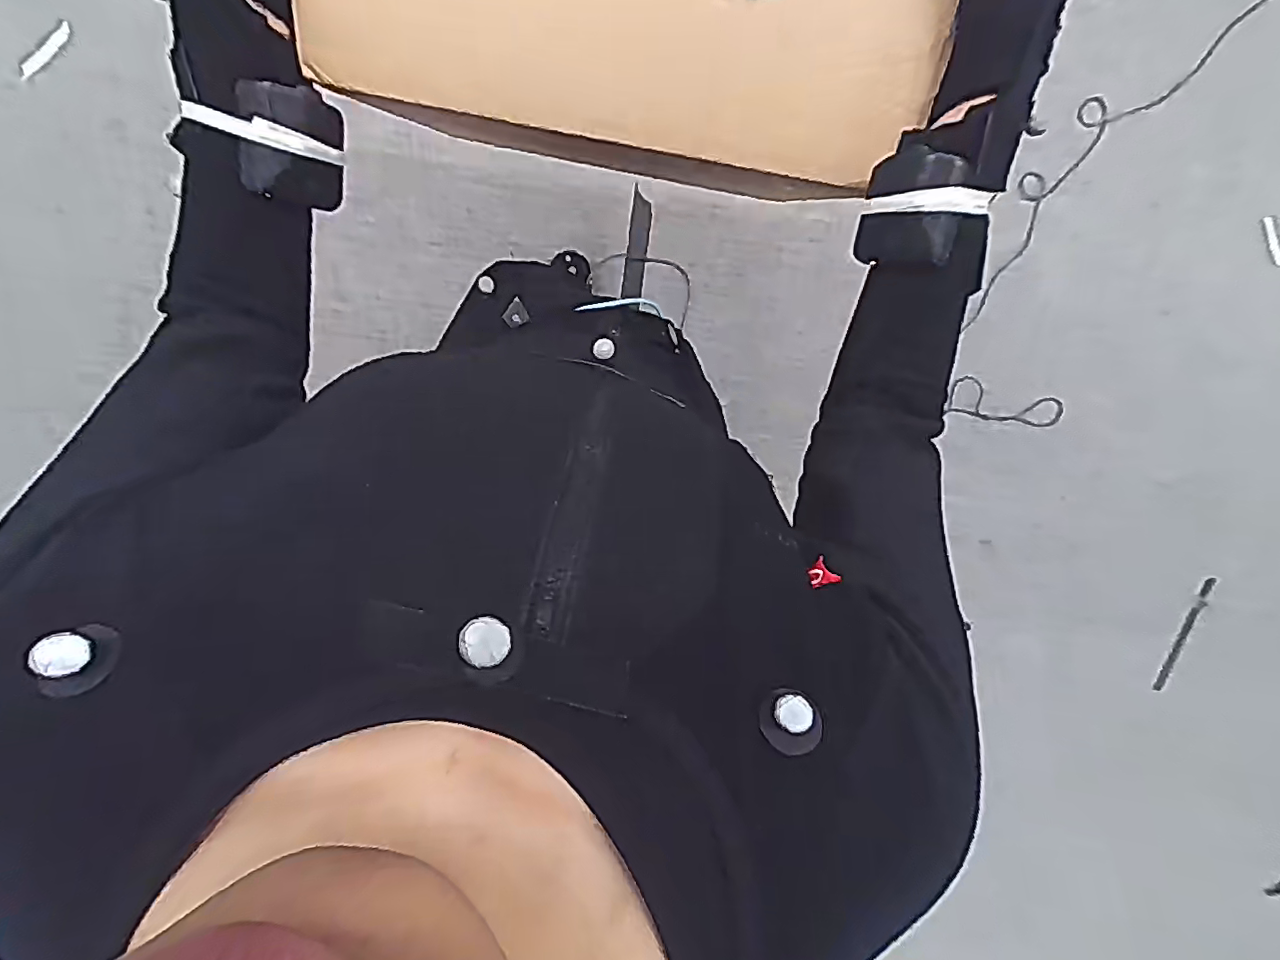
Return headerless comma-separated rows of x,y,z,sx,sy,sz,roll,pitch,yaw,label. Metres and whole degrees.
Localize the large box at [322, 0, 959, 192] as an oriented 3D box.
0.008,-0.436,0.436,0.408,0.320,0.320,7,118,-6,large box
